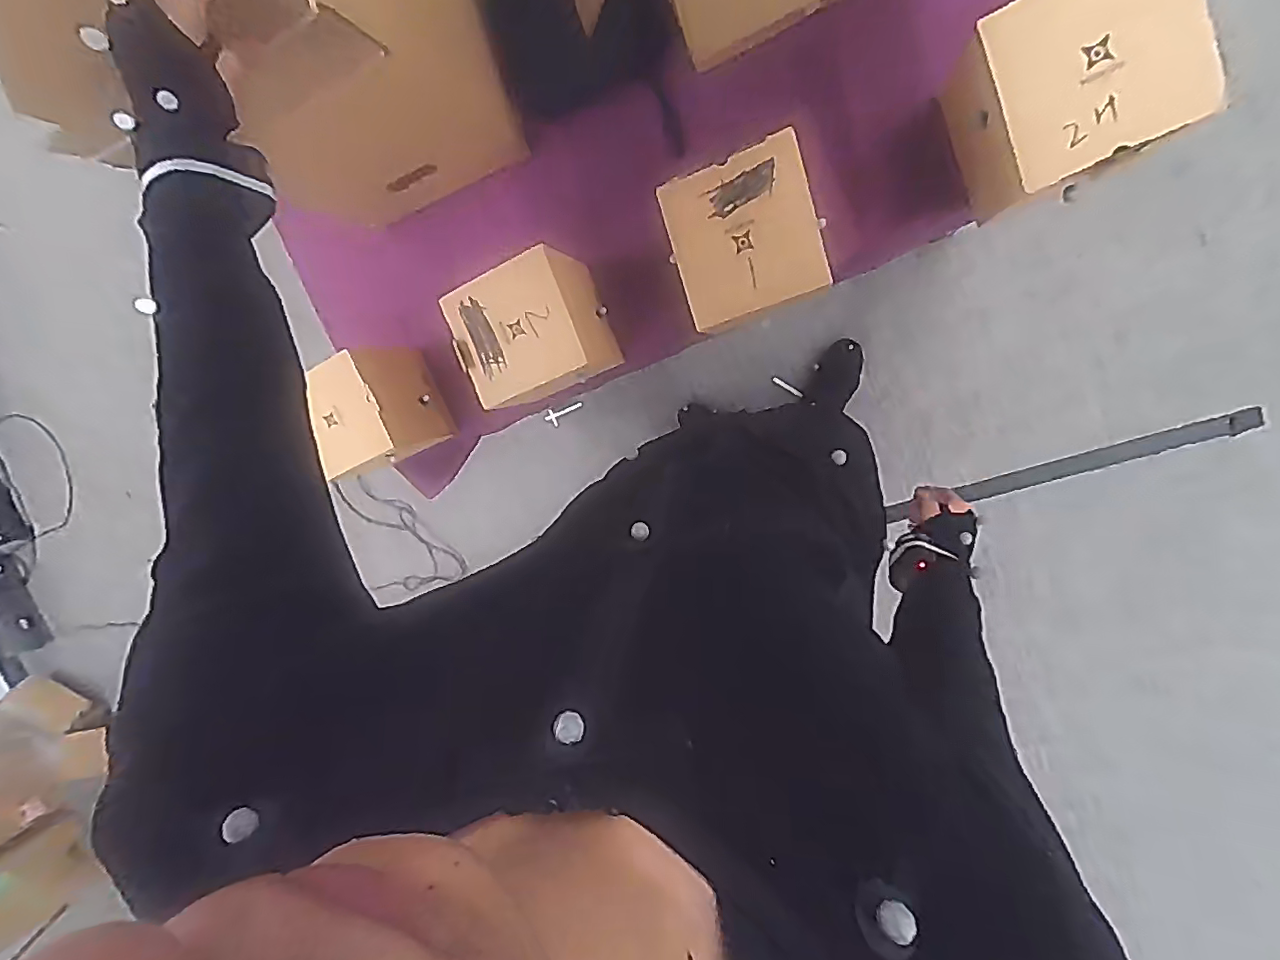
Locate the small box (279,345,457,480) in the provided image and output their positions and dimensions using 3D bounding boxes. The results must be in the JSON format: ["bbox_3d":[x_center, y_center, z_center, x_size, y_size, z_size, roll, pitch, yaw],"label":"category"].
[{"bbox_3d":[-0.453,-0.117,0.923,0.179,0.176,0.168,-22,96,19],"label":"small box"}]

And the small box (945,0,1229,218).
[{"bbox_3d":[0.453,-0.415,0.581,0.168,0.176,0.179,-19,98,21],"label":"small box"}]
